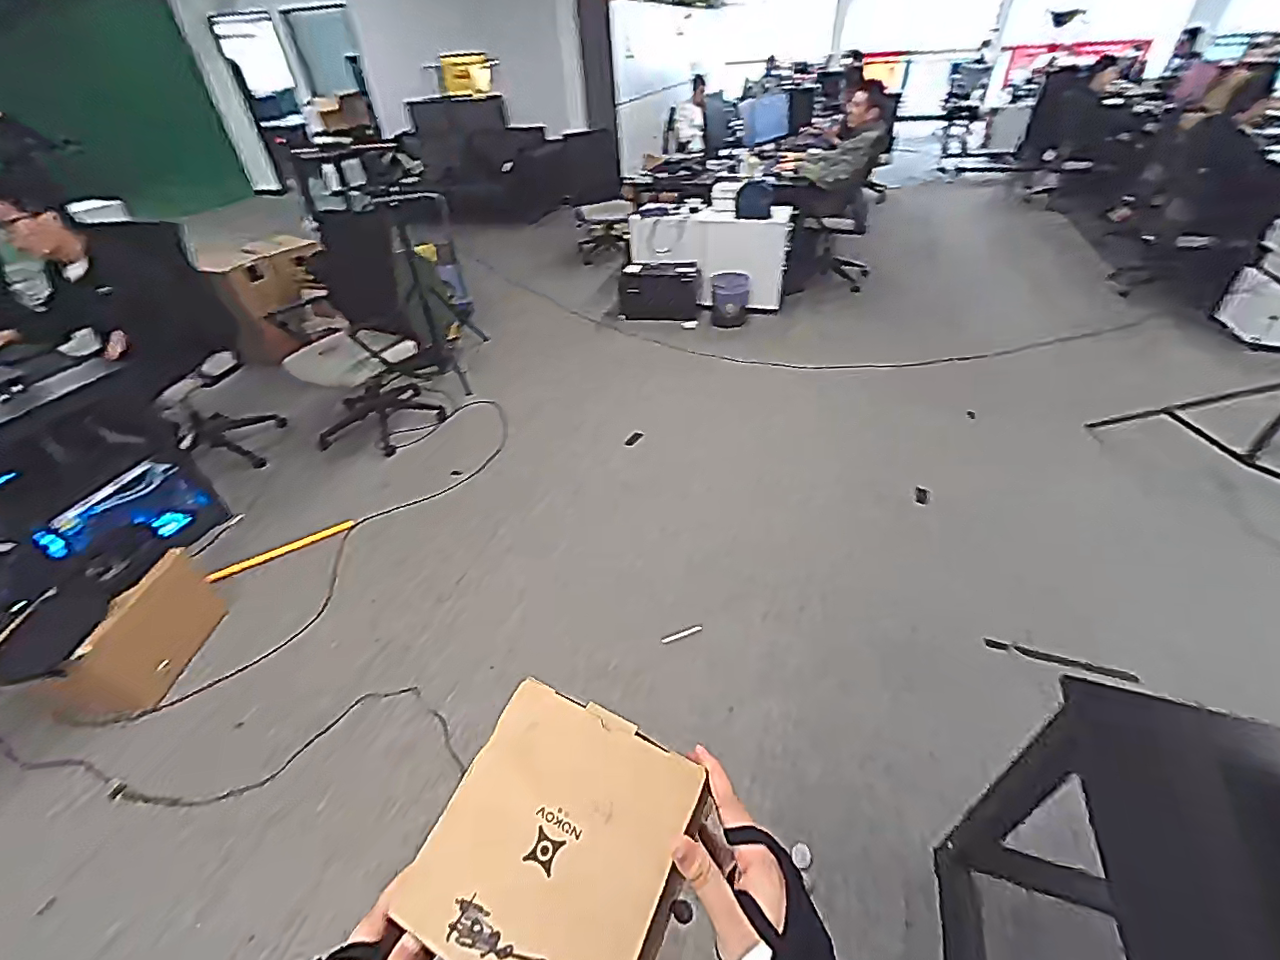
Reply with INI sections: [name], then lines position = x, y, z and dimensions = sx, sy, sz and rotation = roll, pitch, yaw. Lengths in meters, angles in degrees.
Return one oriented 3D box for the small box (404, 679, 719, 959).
[small box]
position = -0.044, 0.302, 0.442
dimensions = 0.168, 0.176, 0.179
rotation = 18, 55, 23
